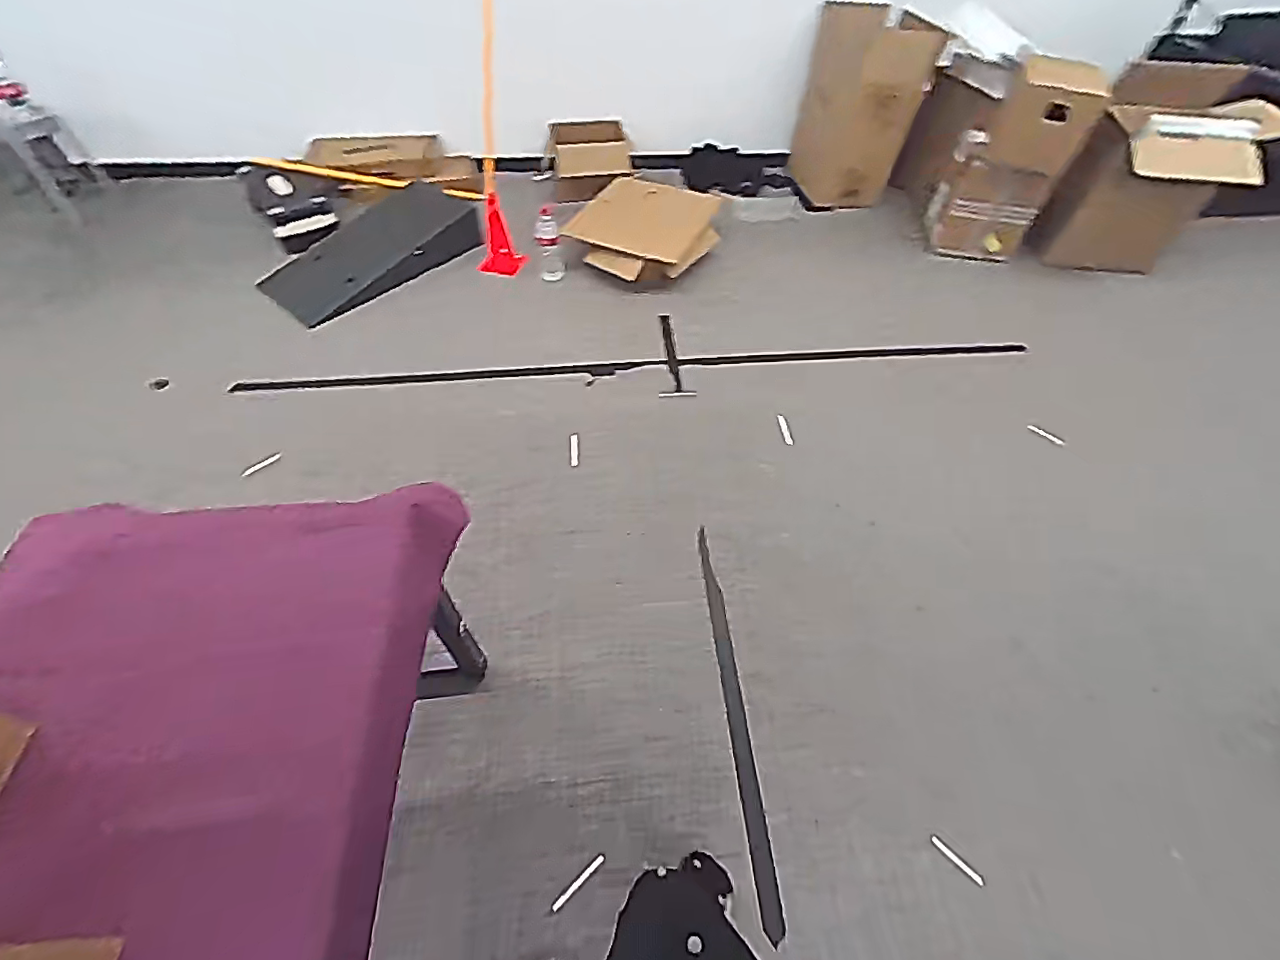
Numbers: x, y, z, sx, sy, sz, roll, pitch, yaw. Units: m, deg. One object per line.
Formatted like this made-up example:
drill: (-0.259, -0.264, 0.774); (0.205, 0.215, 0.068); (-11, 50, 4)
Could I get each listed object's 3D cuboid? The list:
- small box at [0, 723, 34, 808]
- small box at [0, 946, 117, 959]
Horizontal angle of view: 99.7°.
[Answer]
small box: (-0.839, 0.342, 0.569); (0.179, 0.176, 0.168); (-3, 52, -6)
small box: (-0.611, 0.505, 0.447); (0.179, 0.176, 0.168); (-4, 51, -4)
